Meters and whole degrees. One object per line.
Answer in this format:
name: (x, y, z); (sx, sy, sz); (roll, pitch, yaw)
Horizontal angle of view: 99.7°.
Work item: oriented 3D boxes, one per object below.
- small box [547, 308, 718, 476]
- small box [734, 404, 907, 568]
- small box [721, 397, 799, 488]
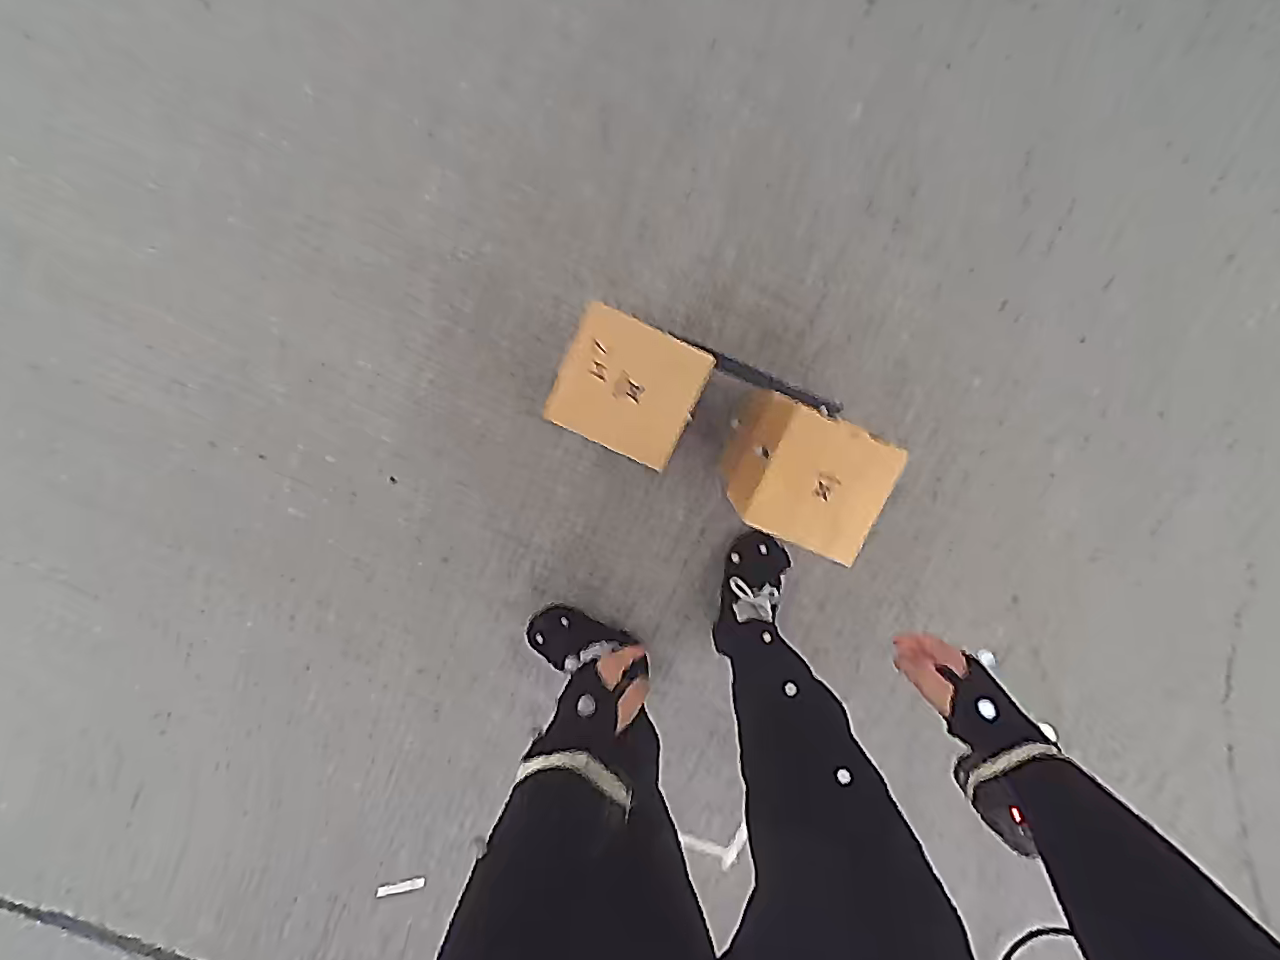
small box: (-0.010, -0.128, 0.779); (0.179, 0.176, 0.168); (25, 100, -4)
small box: (0.251, -0.001, 0.804); (0.168, 0.176, 0.179); (23, 100, -3)
small box: (0.262, -0.042, 0.961); (0.179, 0.176, 0.168); (25, 101, -3)
